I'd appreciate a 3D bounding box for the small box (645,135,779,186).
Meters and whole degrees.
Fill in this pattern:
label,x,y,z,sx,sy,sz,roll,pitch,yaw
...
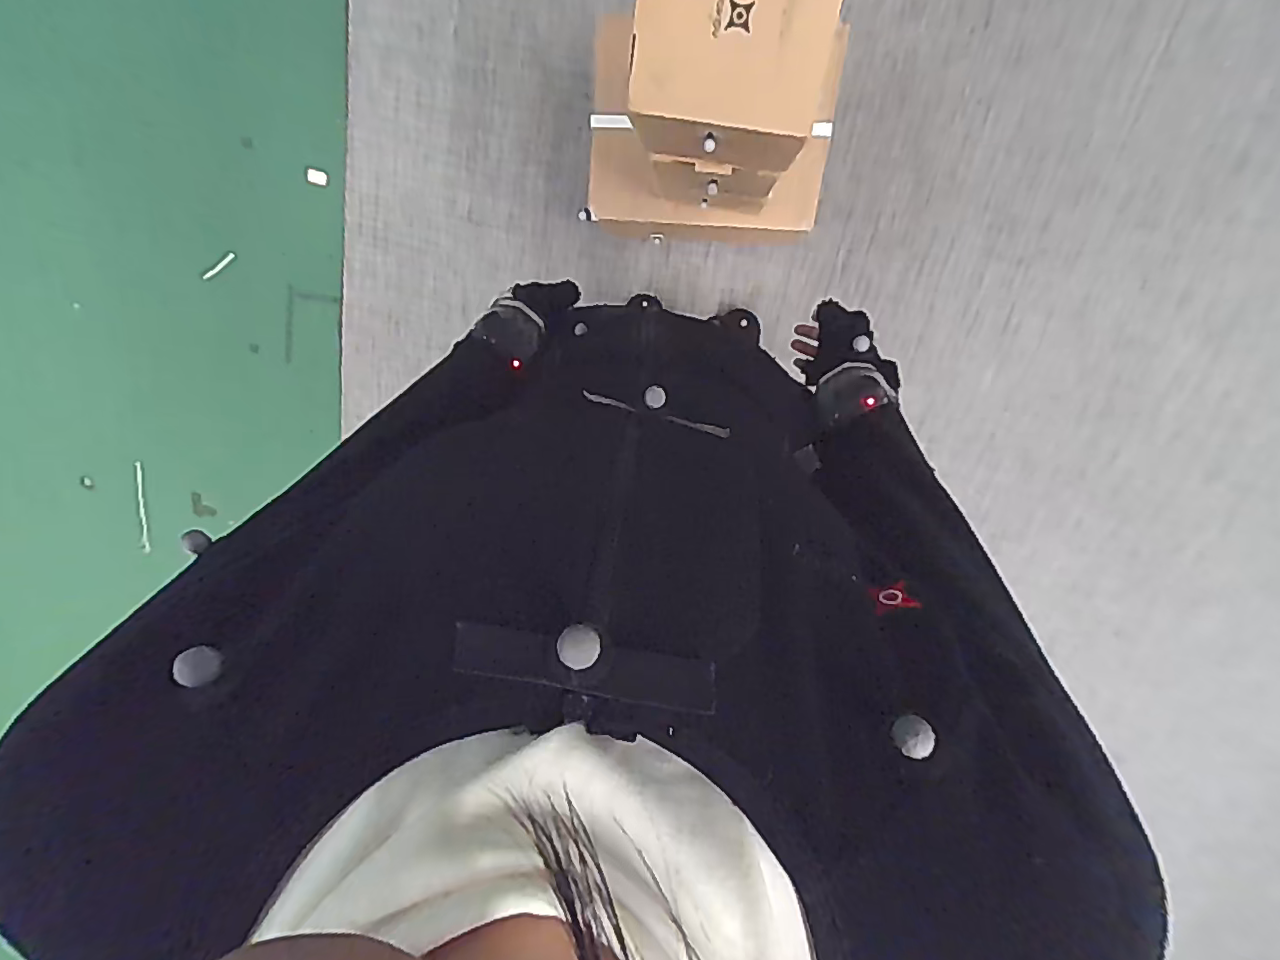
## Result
label,x,y,z,sx,sy,sz,roll,pitch,yaw
small box,0.108,-0.489,0.690,0.168,0.176,0.179,10,111,4

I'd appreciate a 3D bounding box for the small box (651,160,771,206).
label,x,y,z,sx,sy,sz,roll,pitch,yaw
small box,0.124,-0.537,0.845,0.179,0.176,0.168,12,111,4

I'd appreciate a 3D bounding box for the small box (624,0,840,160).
label,x,y,z,sx,sy,sz,roll,pitch,yaw
small box,0.091,-0.435,0.538,0.179,0.176,0.168,10,112,3
